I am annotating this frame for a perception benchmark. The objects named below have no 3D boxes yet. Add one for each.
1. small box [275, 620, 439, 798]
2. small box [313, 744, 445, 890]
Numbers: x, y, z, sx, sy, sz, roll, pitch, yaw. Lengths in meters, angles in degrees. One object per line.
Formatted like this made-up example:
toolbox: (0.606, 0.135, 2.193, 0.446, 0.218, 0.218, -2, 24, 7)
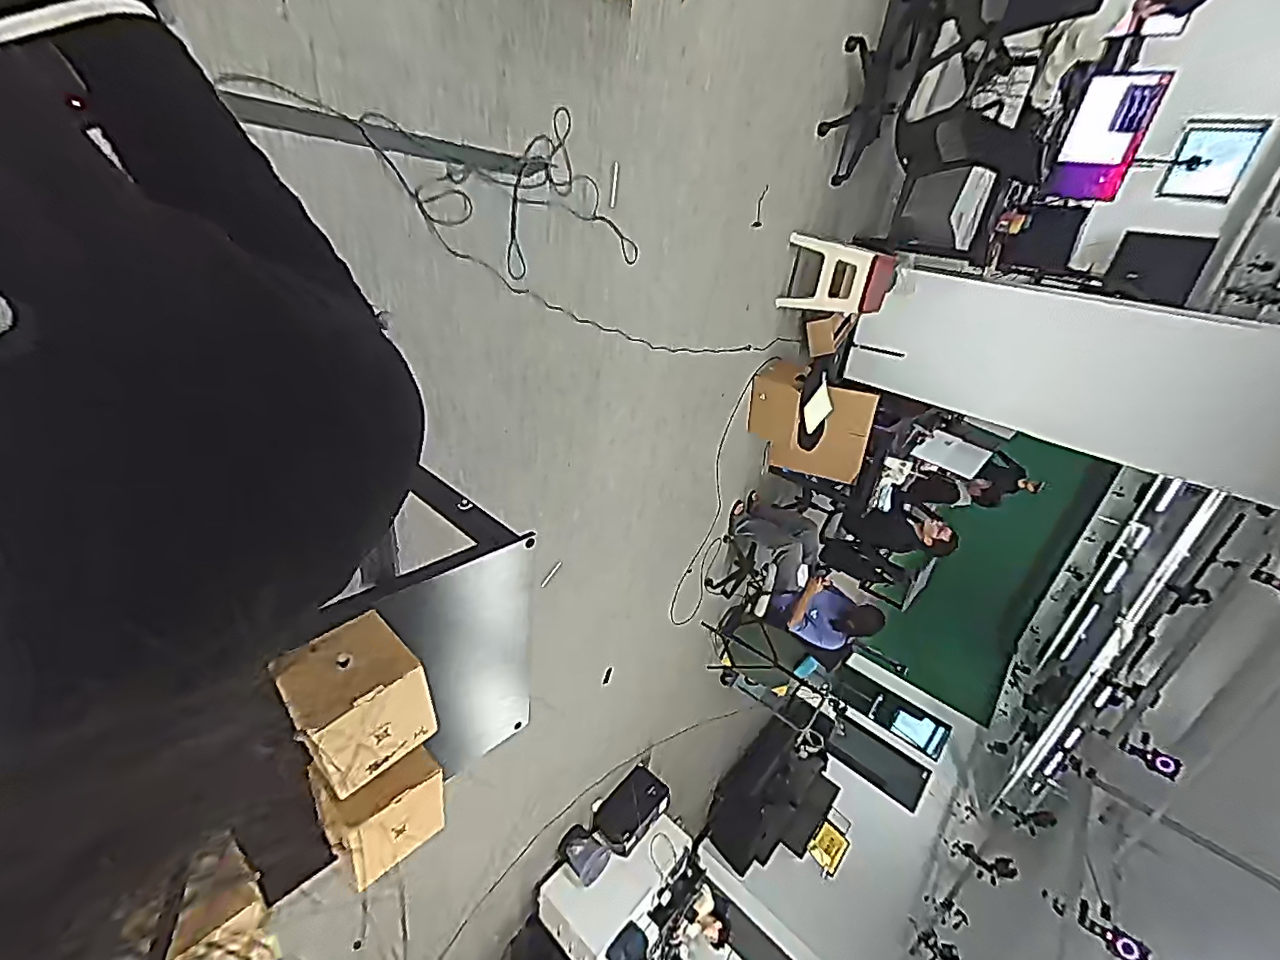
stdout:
small box: (-0.454, 0.354, 0.875, 0.168, 0.176, 0.179, -29, 134, -40)
small box: (-0.481, 0.590, 1.005, 0.168, 0.176, 0.179, -21, 128, -45)
